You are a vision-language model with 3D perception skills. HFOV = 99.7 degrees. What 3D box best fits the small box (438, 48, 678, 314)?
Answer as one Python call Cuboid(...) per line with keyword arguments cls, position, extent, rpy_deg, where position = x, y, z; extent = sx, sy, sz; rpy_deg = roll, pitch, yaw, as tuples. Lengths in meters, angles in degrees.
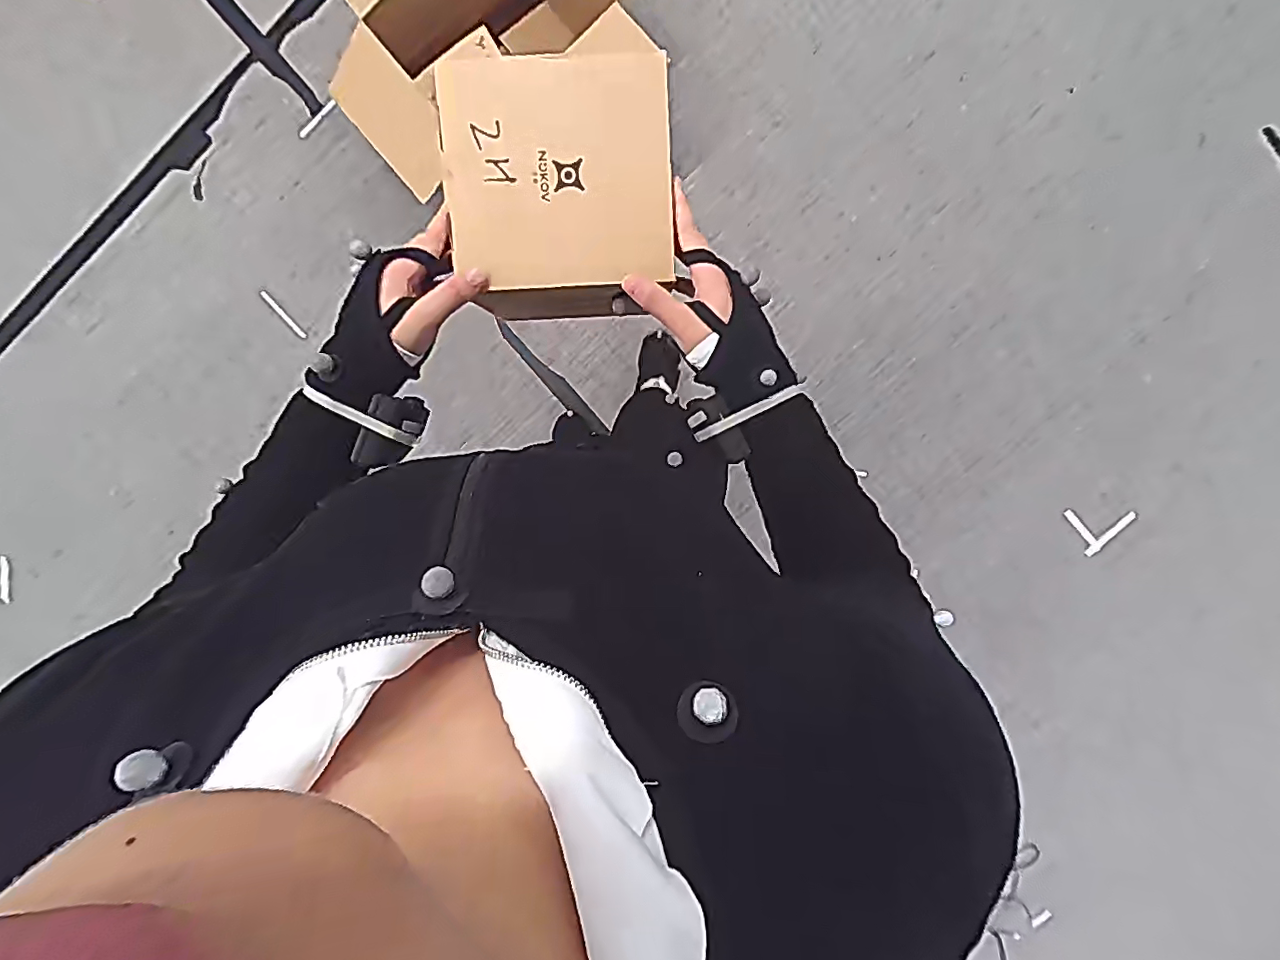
Cuboid(cls="small box", position=(-0.061, -0.249, 0.492), extent=(0.179, 0.176, 0.168), rpy_deg=(-3, 99, 1))
